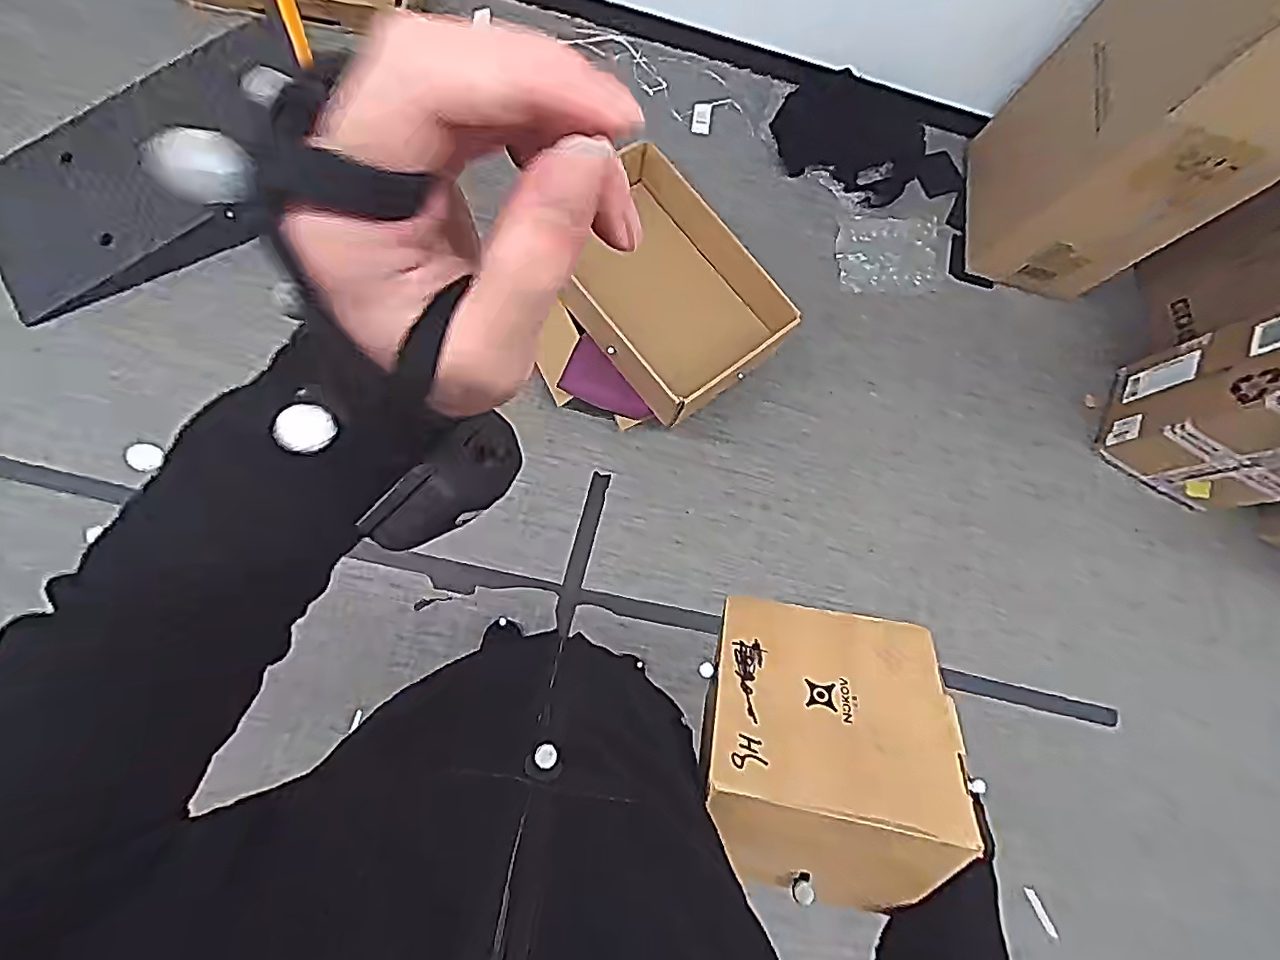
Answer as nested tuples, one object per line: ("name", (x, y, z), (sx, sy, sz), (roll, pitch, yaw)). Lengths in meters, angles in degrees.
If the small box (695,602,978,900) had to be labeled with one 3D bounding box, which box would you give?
("small box", (0.151, 0.236, 0.474), (0.179, 0.176, 0.168), (8, 40, 8))
